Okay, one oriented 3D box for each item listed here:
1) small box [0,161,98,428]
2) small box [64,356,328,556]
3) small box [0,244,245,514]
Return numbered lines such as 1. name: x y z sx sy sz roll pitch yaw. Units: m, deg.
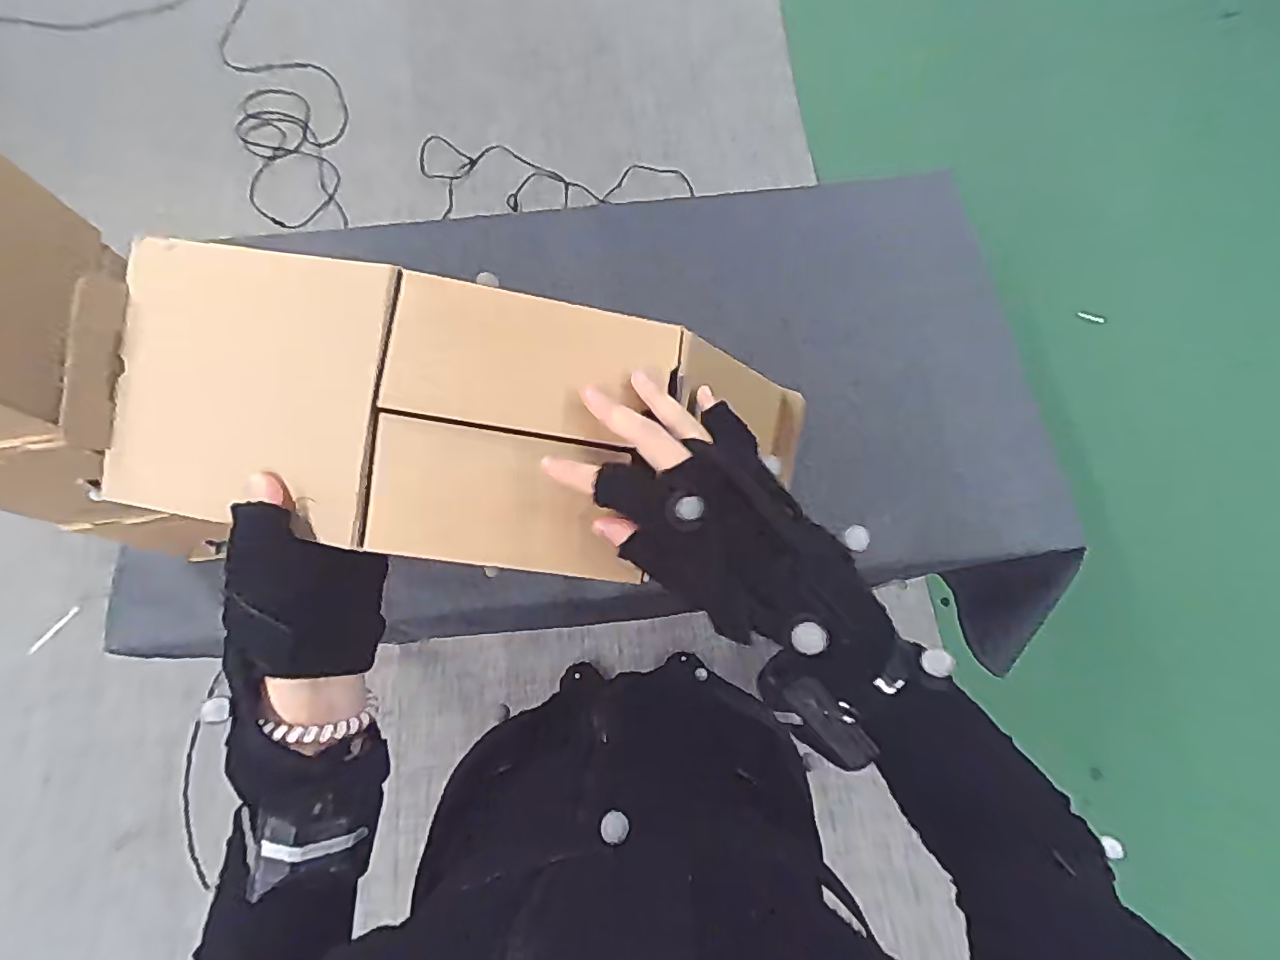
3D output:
1. small box: -0.492 -0.132 0.326 0.168 0.176 0.179 -8 72 -4
2. small box: -0.493 -0.020 0.633 0.168 0.176 0.179 -8 72 -2
3. small box: -0.492 -0.074 0.479 0.168 0.176 0.179 -7 72 -3
